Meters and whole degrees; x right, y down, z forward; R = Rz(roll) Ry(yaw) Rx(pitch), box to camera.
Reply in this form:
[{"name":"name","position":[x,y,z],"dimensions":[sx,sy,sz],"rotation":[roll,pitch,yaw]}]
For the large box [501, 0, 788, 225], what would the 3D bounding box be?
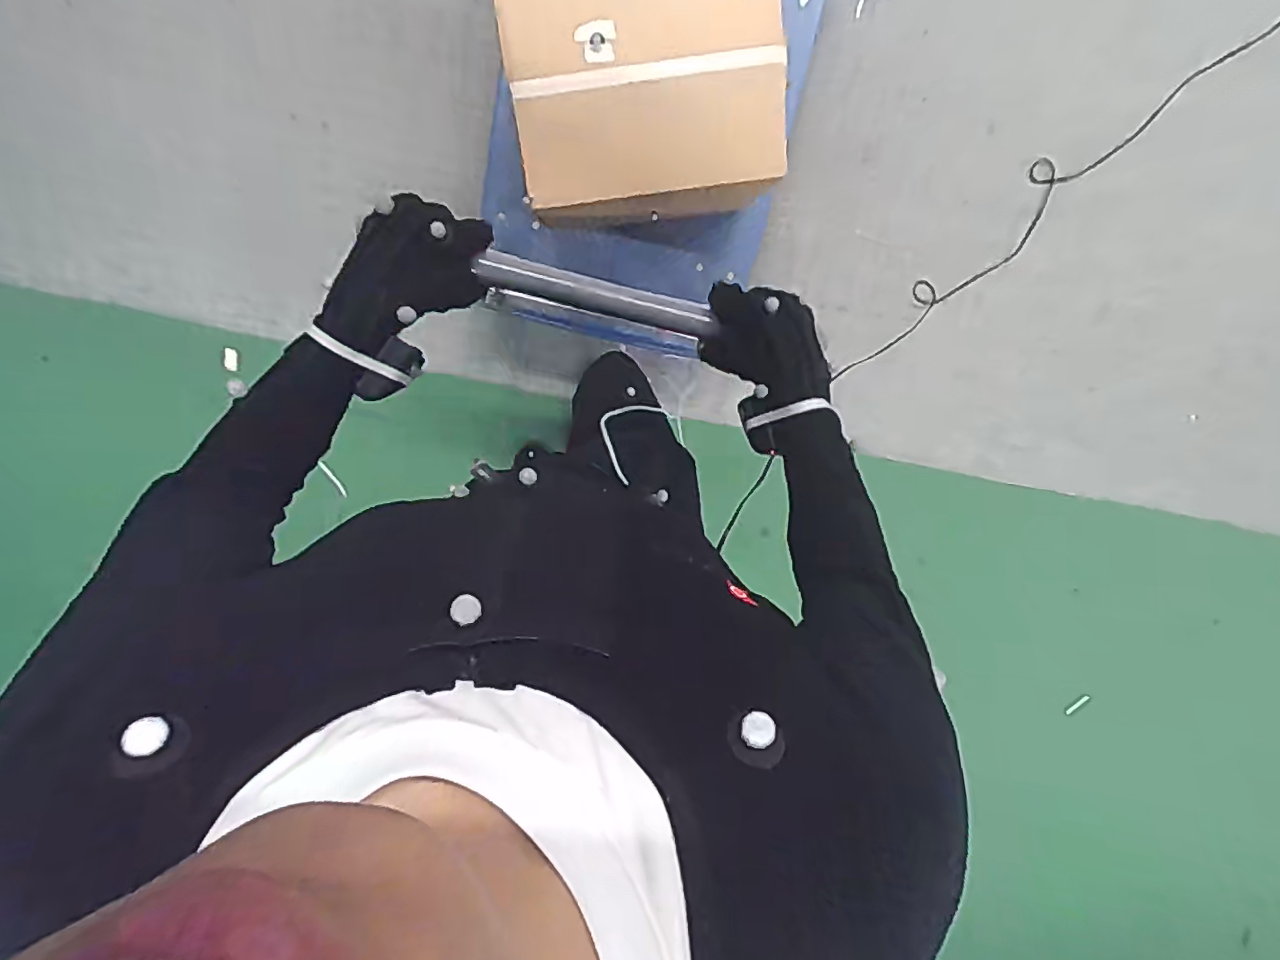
[{"name":"large box","position":[0.012,-0.649,0.936],"dimensions":[0.408,0.320,0.320],"rotation":[-7,108,1]}]
